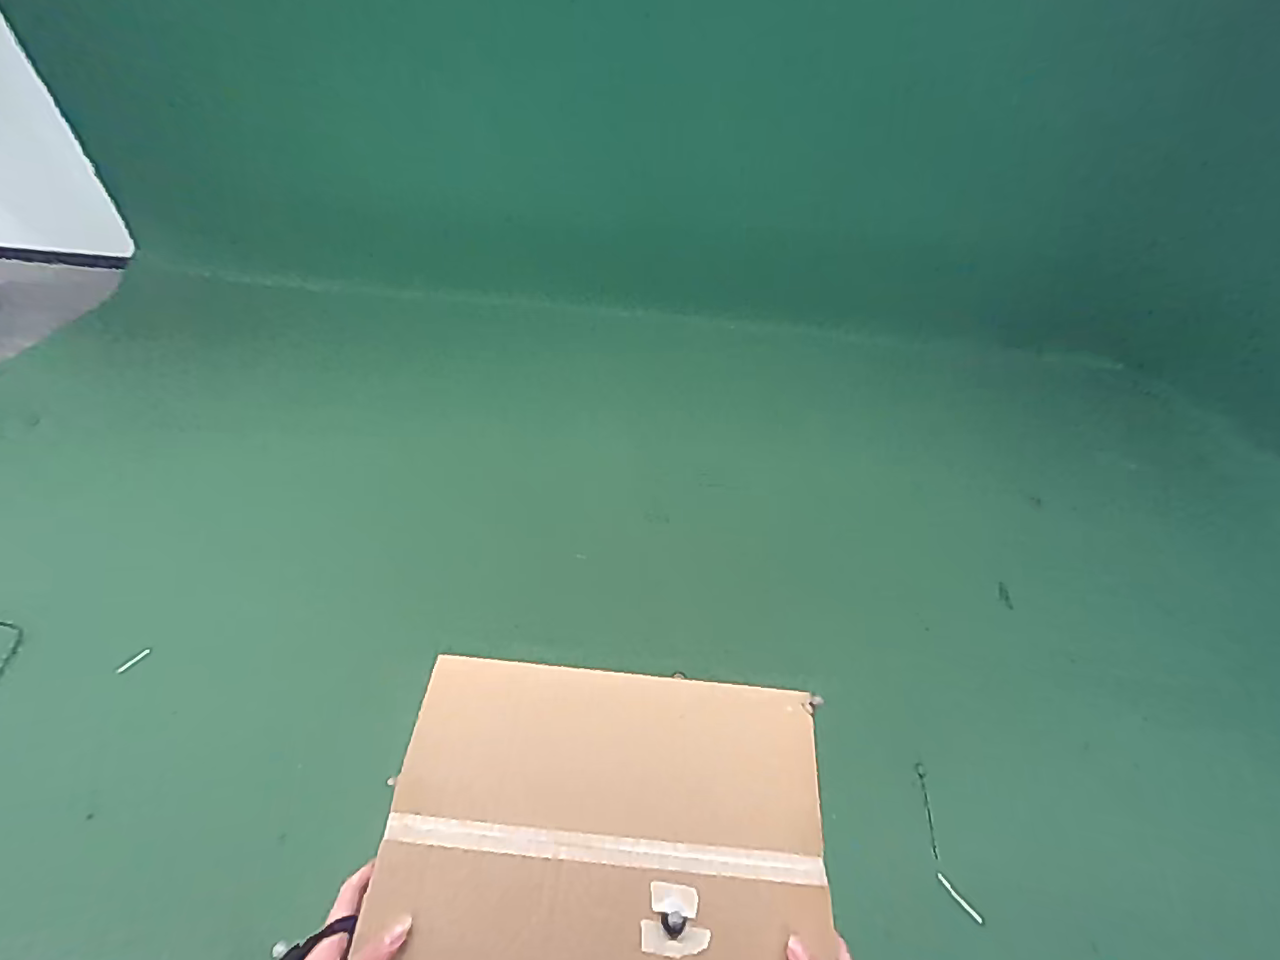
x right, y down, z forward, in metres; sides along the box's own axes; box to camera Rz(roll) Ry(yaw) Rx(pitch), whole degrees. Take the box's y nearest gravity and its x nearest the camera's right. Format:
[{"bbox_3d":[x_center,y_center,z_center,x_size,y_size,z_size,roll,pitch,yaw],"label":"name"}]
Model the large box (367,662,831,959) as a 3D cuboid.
[{"bbox_3d":[-0.035,0.425,0.630,0.408,0.320,0.320,5,56,0],"label":"large box"}]
